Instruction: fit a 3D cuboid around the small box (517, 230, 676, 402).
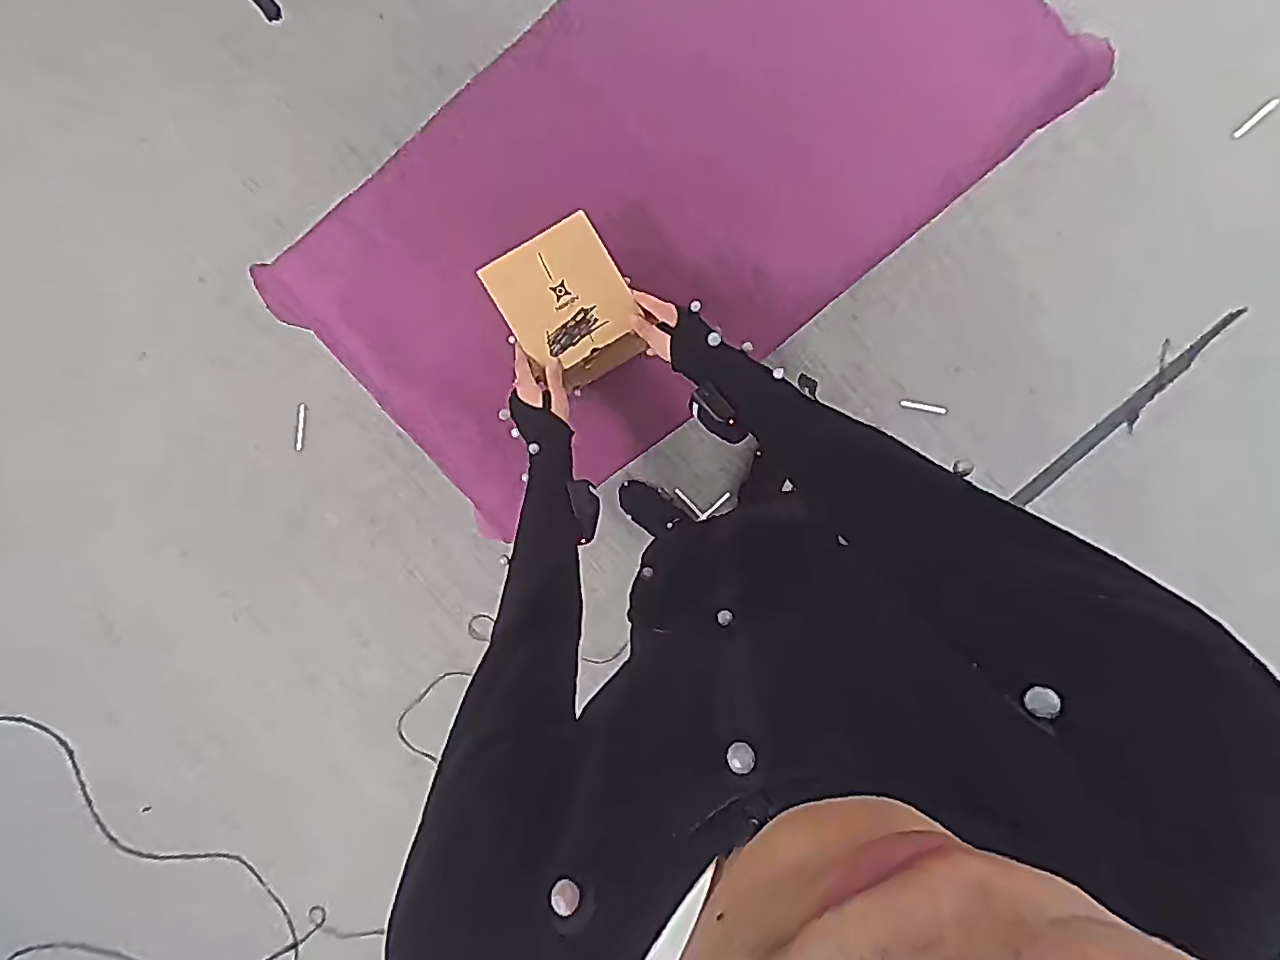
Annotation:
[{"bbox_3d":[-0.058,-0.228,0.811,0.168,0.176,0.179,-26,90,0],"label":"small box"}]
